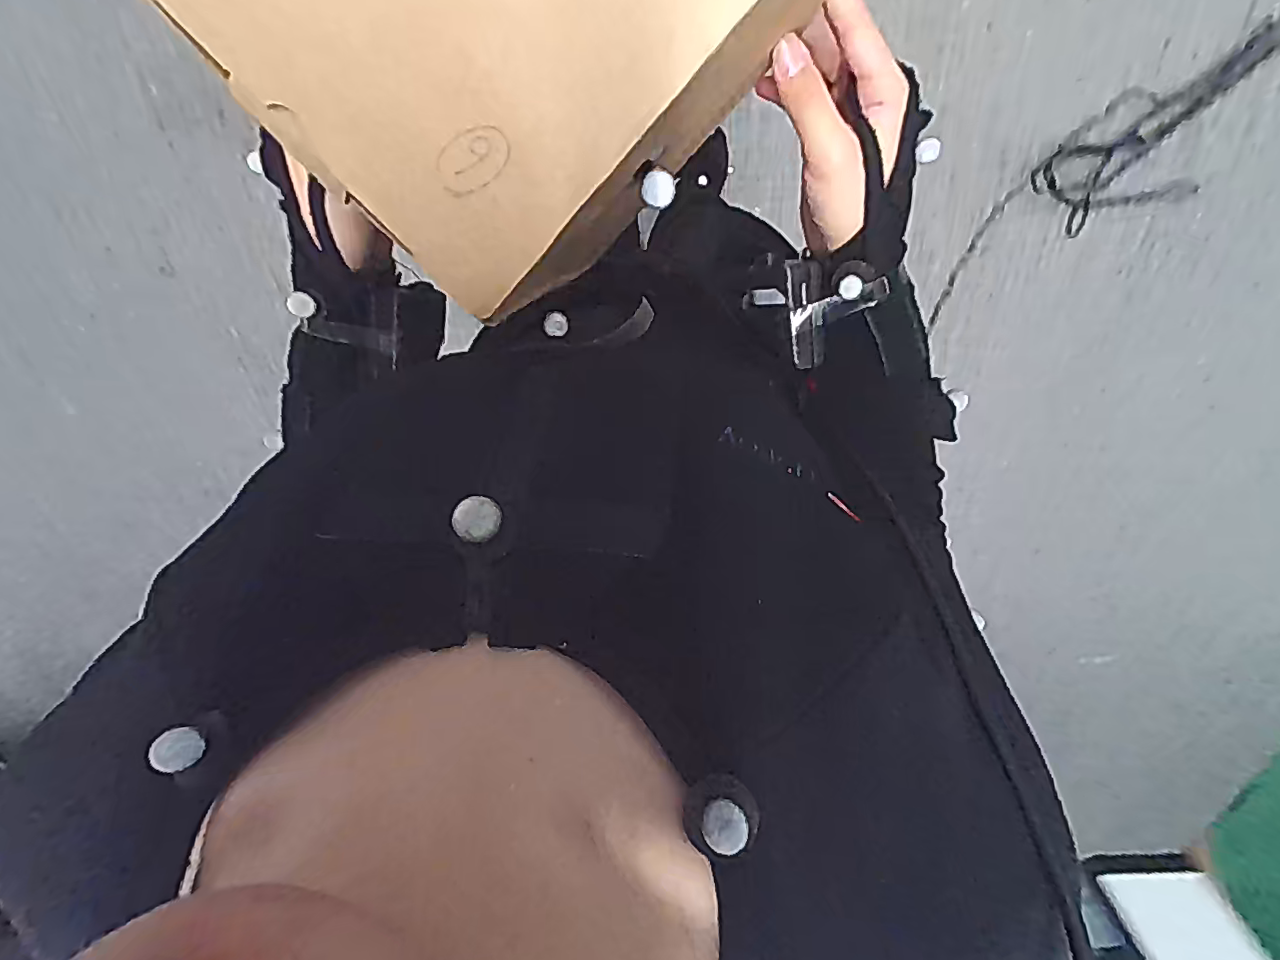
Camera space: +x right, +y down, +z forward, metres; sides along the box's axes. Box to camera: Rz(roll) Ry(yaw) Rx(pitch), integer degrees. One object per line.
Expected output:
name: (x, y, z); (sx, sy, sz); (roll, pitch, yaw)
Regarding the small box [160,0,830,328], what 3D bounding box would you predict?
small box: (-0.035, -0.193, 0.214); (0.179, 0.176, 0.168); (-39, 106, 24)
